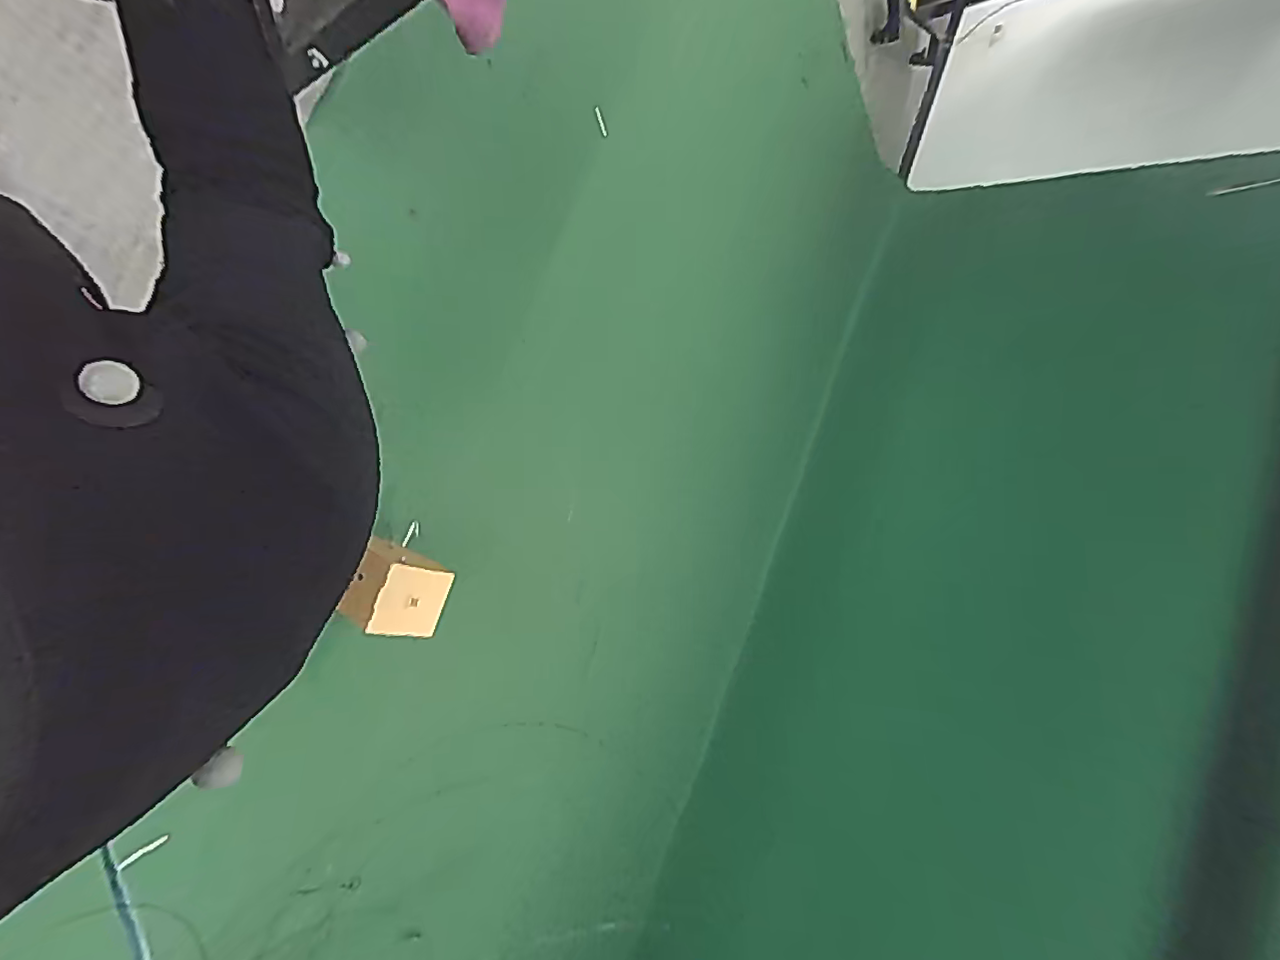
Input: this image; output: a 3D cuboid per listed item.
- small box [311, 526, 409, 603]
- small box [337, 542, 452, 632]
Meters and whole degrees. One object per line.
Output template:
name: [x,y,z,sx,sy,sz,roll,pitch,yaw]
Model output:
small box: [-0.734,0.234,1.445,0.179,0.176,0.168,29,79,-51]
small box: [-0.610,0.265,1.345,0.179,0.176,0.168,25,82,-50]
